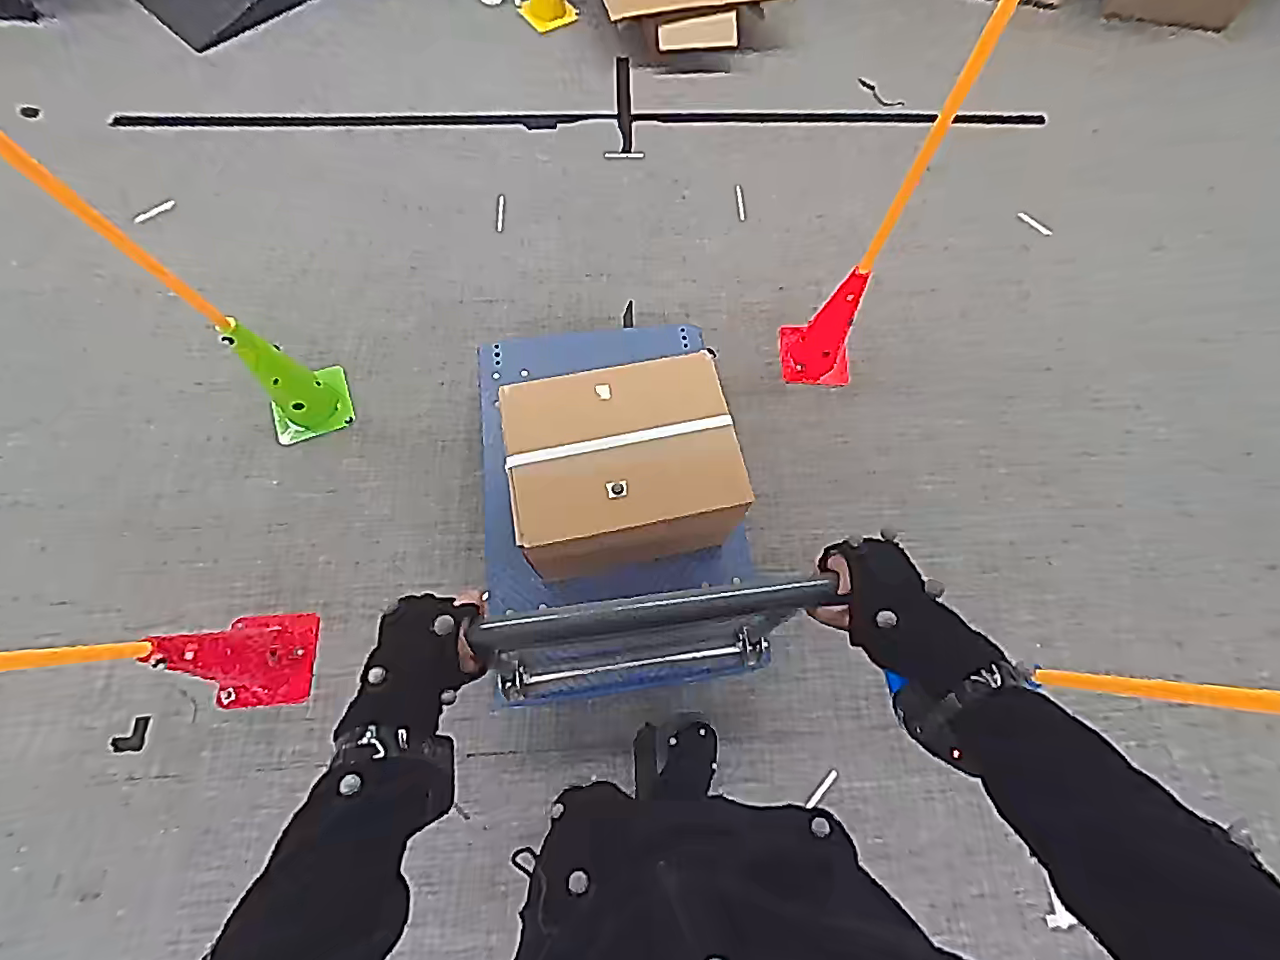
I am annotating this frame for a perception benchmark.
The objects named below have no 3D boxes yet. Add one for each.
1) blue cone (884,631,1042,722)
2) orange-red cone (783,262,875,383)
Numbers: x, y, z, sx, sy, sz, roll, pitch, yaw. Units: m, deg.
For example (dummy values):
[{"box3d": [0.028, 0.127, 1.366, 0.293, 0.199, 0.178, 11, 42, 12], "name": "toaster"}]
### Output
[{"box3d": [0.698, 0.404, 1.135, 0.193, 0.380, 0.192, -5, 68, -5], "name": "blue cone"}, {"box3d": [0.532, -0.439, 1.438, 0.199, 0.360, 0.198, 5, 69, -2], "name": "orange-red cone"}]
